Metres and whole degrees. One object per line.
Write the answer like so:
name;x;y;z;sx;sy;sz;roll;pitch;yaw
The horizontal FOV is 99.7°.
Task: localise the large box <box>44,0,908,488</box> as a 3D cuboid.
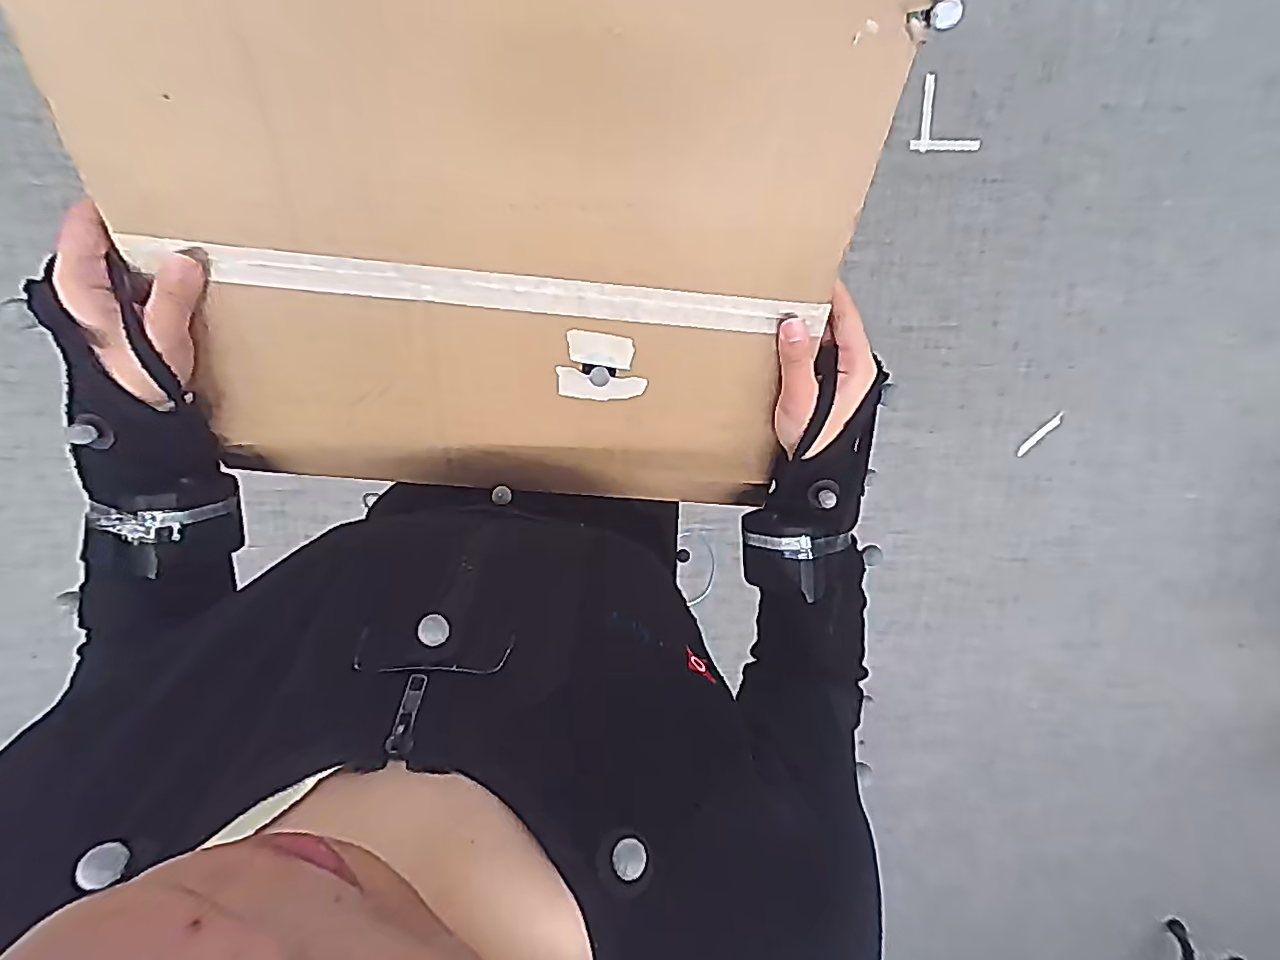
large box;-0.090;-0.213;0.446;0.408;0.320;0.320;3;130;-6
